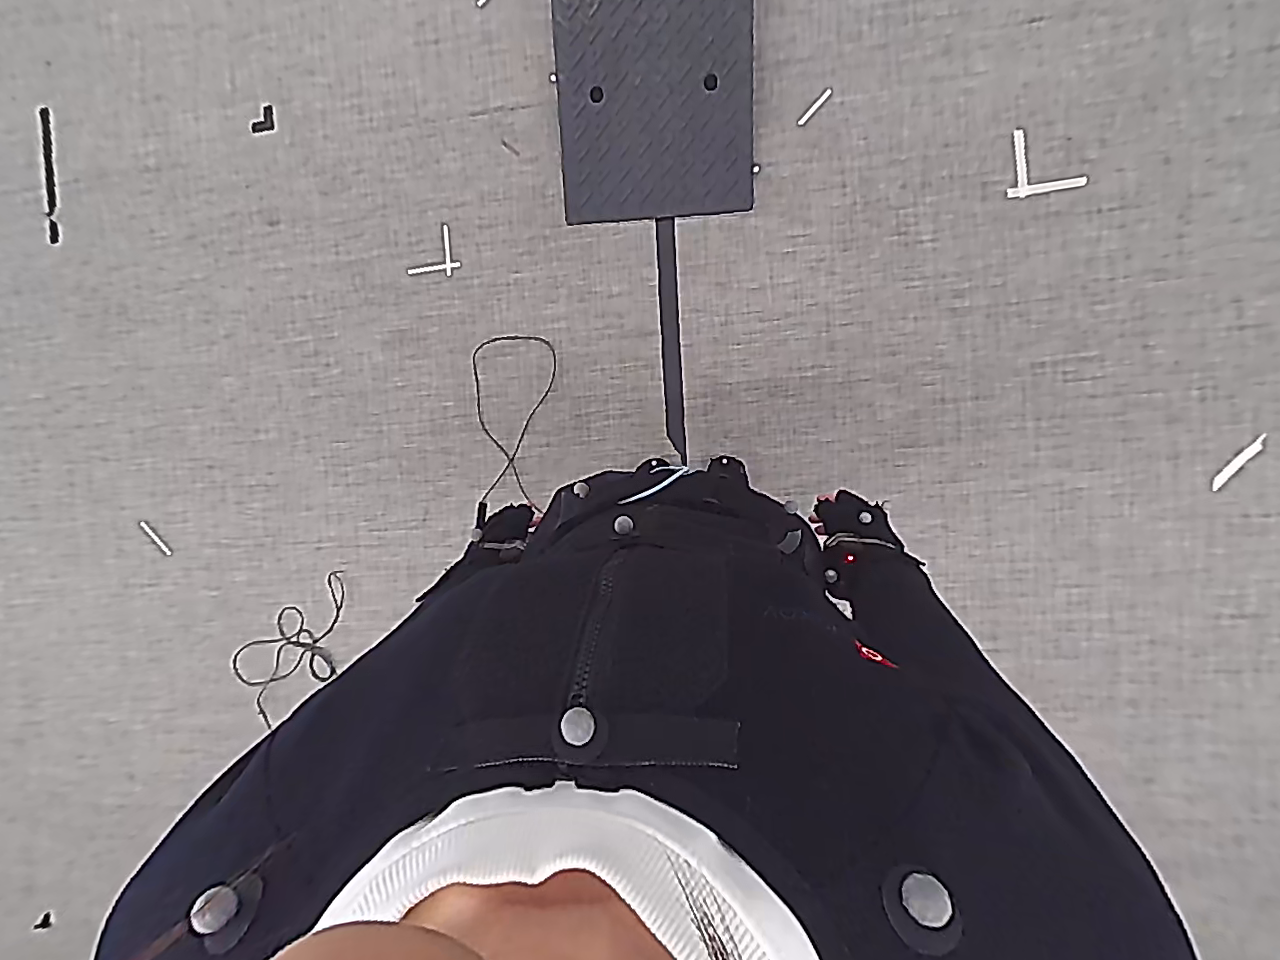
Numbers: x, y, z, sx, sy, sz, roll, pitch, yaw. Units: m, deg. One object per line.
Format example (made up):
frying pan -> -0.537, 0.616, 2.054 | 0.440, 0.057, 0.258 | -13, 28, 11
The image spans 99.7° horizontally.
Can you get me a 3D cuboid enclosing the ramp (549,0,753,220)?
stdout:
ramp -> 0.021, -1.181, 1.293 | 0.509, 0.206, 0.991 | -3, 93, 6
